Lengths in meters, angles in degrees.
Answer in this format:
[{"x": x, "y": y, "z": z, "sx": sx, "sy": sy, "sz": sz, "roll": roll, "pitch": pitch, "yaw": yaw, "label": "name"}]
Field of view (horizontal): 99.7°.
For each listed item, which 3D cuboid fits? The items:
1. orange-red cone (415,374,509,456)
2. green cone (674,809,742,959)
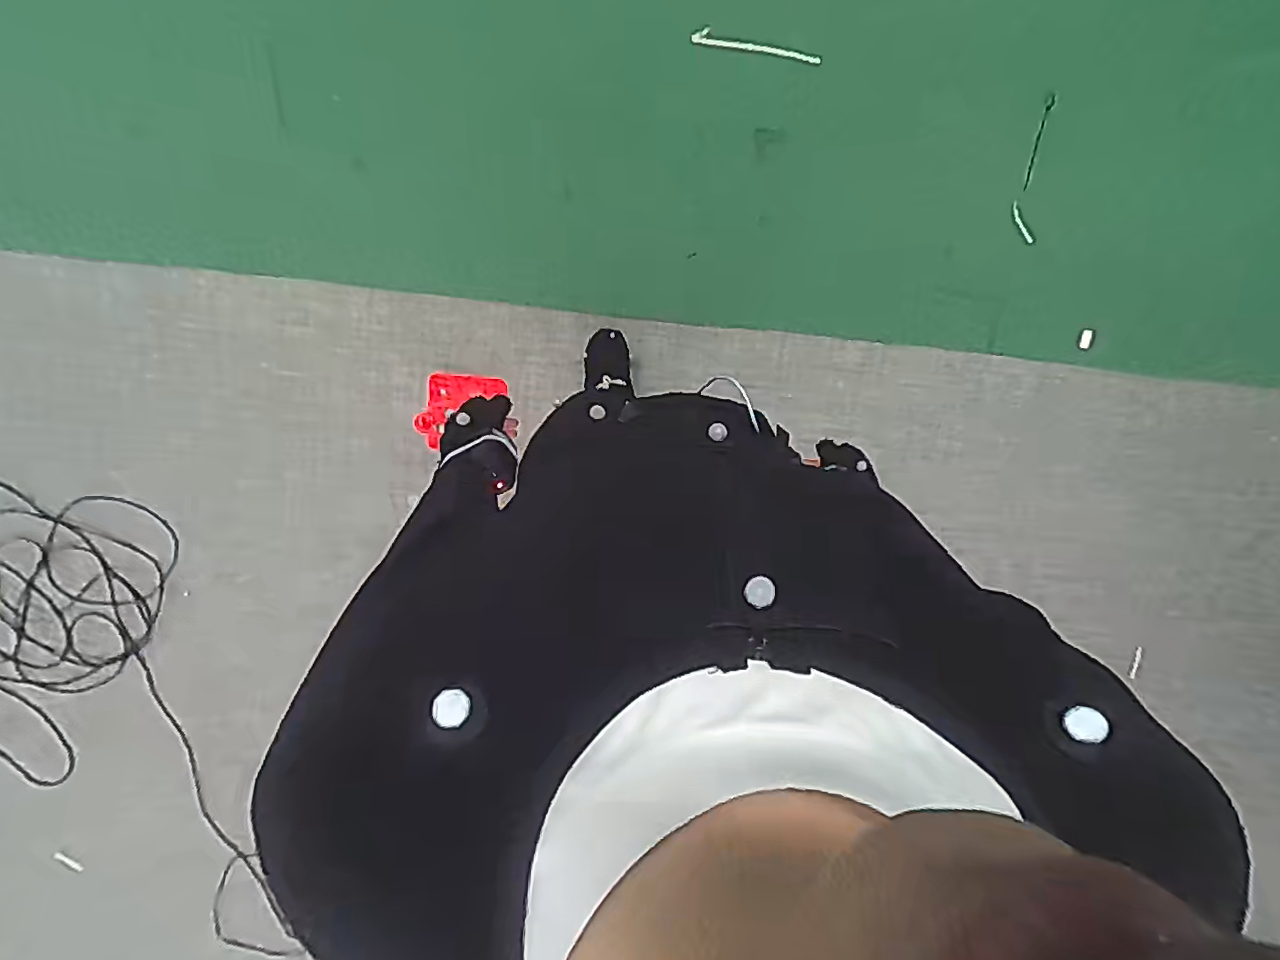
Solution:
[{"x": -0.432, "y": -0.135, "z": 1.235, "sx": 0.198, "sy": 0.360, "sz": 0.199, "roll": 5, "pitch": 100, "yaw": -4, "label": "orange-red cone"}, {"x": 0.219, "y": 1.136, "z": 1.506, "sx": 0.202, "sy": 0.368, "sz": 0.200, "roll": 3, "pitch": 99, "yaw": -3, "label": "green cone"}]
